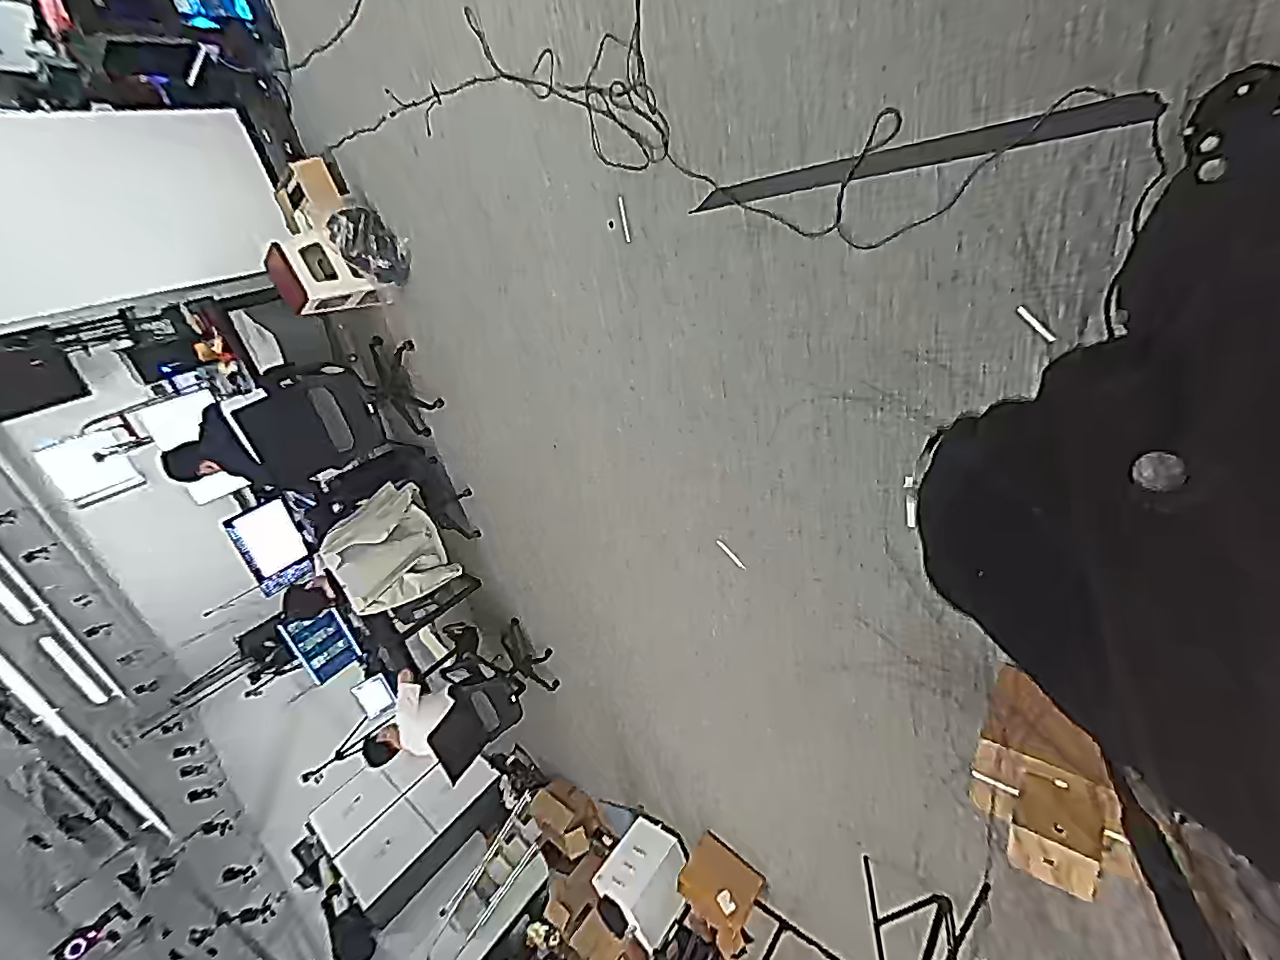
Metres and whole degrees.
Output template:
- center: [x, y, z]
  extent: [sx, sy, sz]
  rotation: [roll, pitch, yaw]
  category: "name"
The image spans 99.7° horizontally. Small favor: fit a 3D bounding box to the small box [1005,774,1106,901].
- center: [1.046, 0.887, 1.360]
  extent: [0.179, 0.176, 0.168]
  rotation: [10, 123, 42]
  category: "small box"
